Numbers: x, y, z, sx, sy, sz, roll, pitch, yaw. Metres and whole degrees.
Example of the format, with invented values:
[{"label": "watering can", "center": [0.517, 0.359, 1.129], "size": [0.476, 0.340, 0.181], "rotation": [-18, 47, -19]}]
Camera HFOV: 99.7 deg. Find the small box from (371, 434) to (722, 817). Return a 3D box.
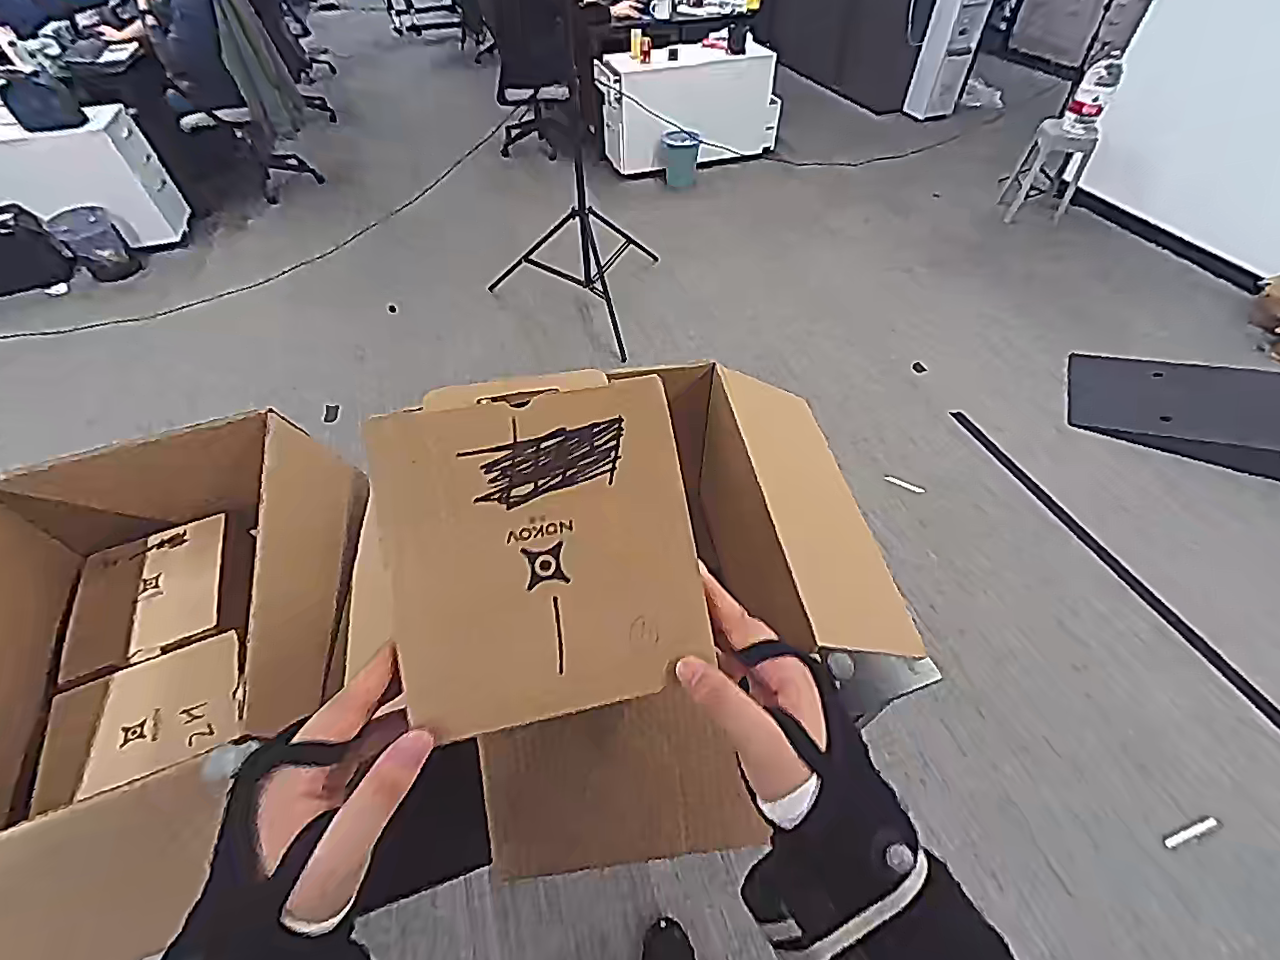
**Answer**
[{"label": "small box", "center": [-0.061, 0.081, 0.365], "size": [0.168, 0.176, 0.179], "rotation": [-10, 83, -9]}]
